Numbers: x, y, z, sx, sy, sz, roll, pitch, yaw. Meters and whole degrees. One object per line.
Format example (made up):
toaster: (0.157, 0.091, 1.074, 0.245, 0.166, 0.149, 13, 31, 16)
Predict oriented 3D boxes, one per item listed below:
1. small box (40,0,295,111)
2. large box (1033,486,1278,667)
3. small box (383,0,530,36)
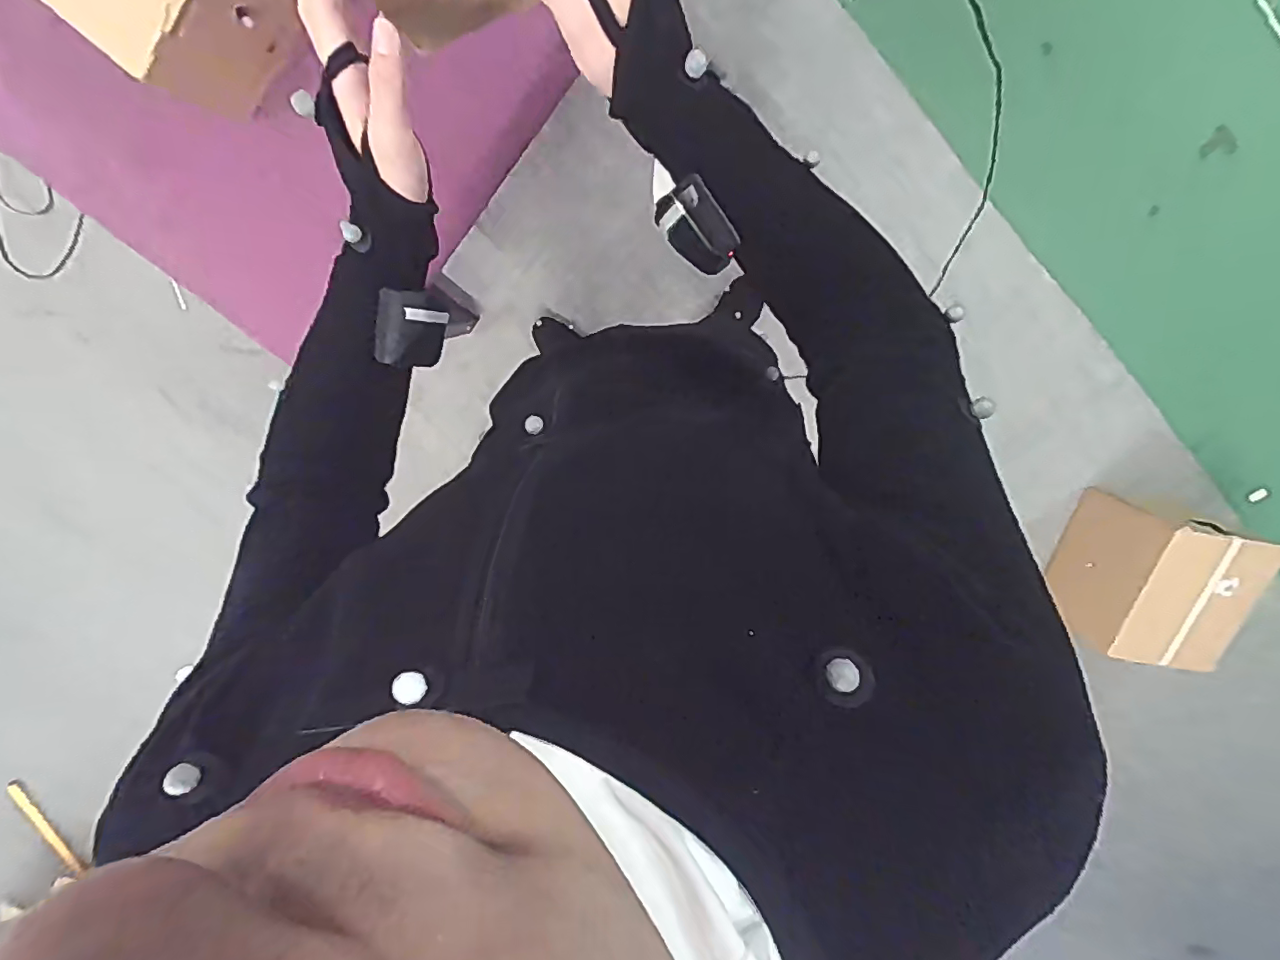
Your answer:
small box: (-0.550, -0.568, 0.622, 0.179, 0.176, 0.168, 40, 105, -12)
large box: (1.470, 0.272, 1.591, 0.320, 0.320, 0.408, 9, 109, -3)
small box: (-0.141, -0.450, 0.367, 0.168, 0.176, 0.179, -20, 108, 6)
